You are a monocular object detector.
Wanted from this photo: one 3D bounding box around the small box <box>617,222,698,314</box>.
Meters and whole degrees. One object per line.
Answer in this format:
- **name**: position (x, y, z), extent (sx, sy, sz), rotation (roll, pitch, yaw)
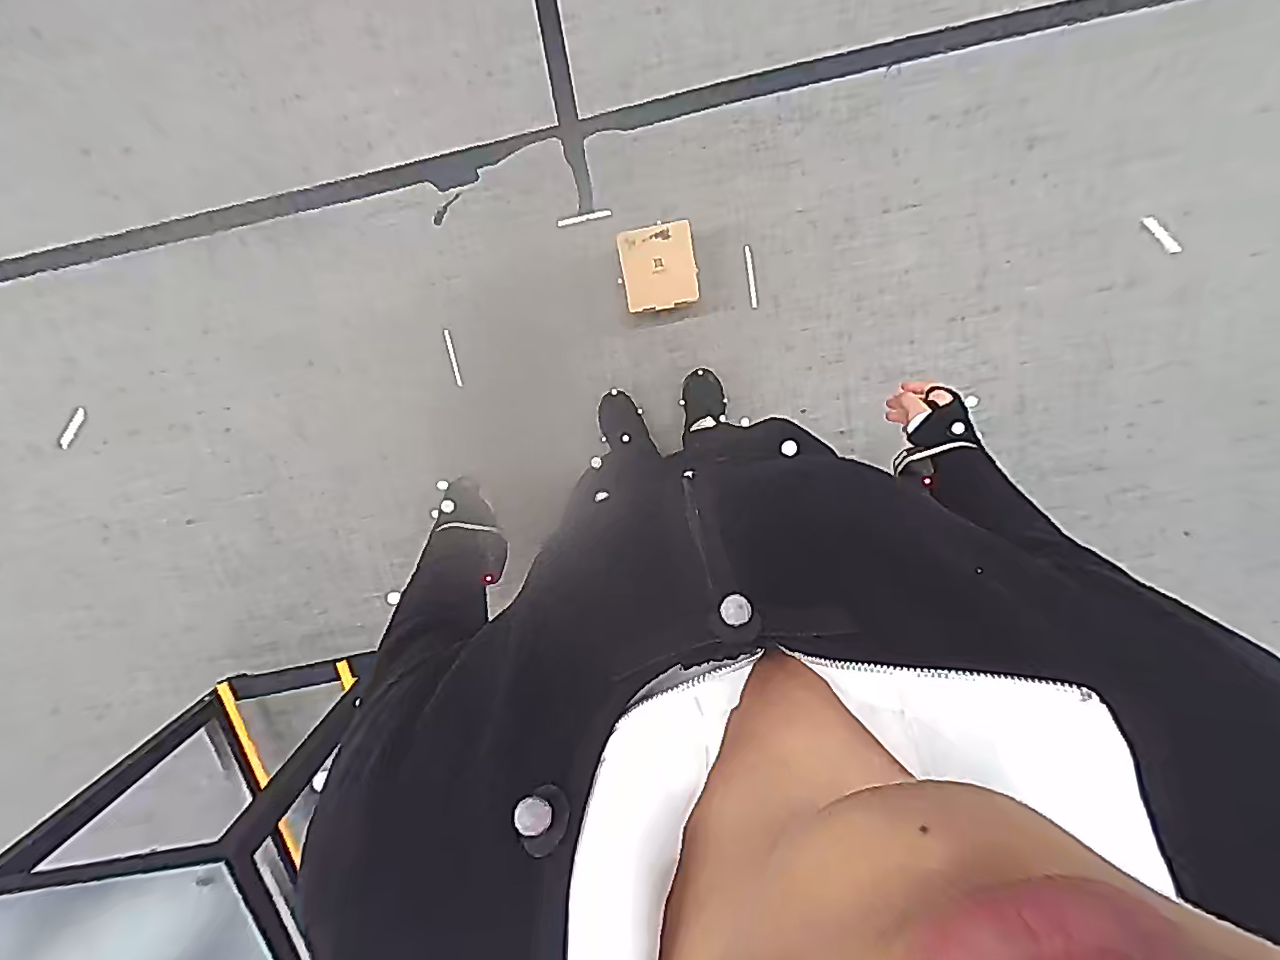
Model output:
- **small box**: position (0.042, -0.499, 1.298), extent (0.168, 0.176, 0.179), rotation (-9, 105, 3)
